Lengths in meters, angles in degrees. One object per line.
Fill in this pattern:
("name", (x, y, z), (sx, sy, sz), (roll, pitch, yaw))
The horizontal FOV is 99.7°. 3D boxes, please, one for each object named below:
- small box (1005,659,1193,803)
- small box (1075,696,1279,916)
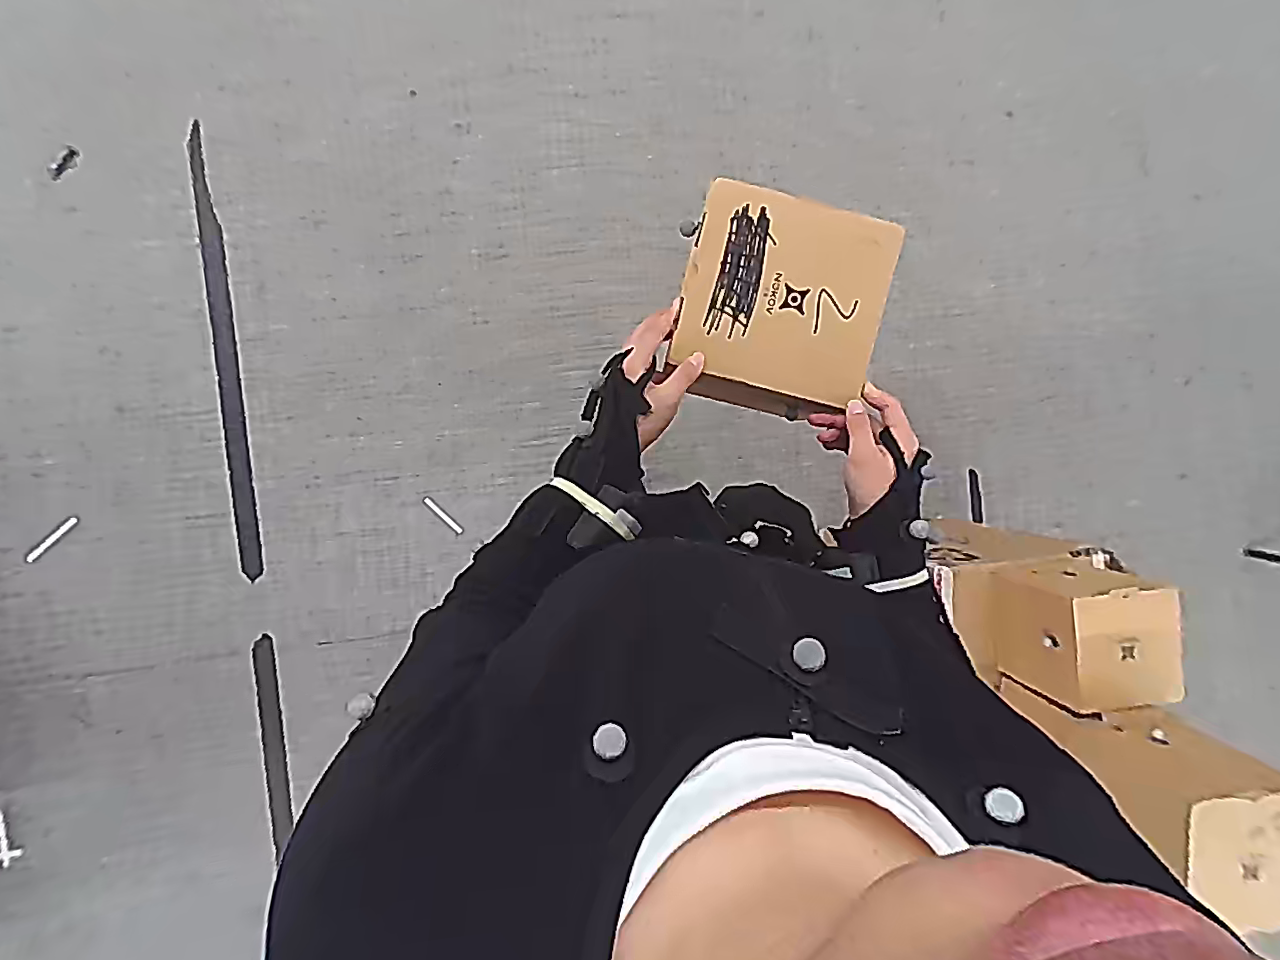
("small box", (0.726, 0.400, 0.872), (0.168, 0.176, 0.179), (-2, 95, -4))
("small box", (0.713, 0.410, 0.706), (0.168, 0.176, 0.179), (-5, 94, -4))
